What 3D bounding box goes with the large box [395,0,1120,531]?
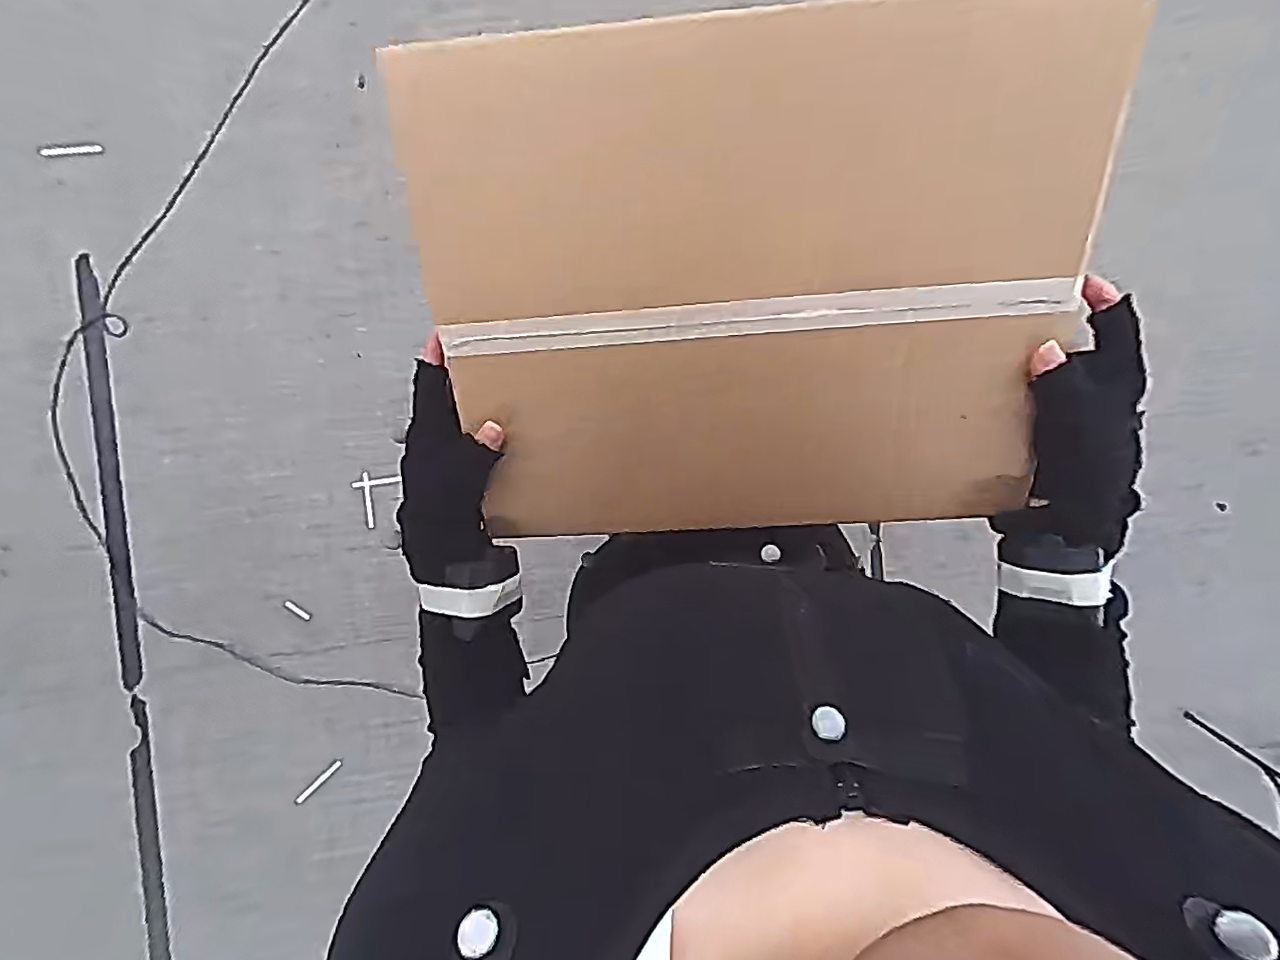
[{"bbox_3d":[0.071,-0.173,0.492,0.408,0.320,0.320,-3,117,4],"label":"large box"}]
